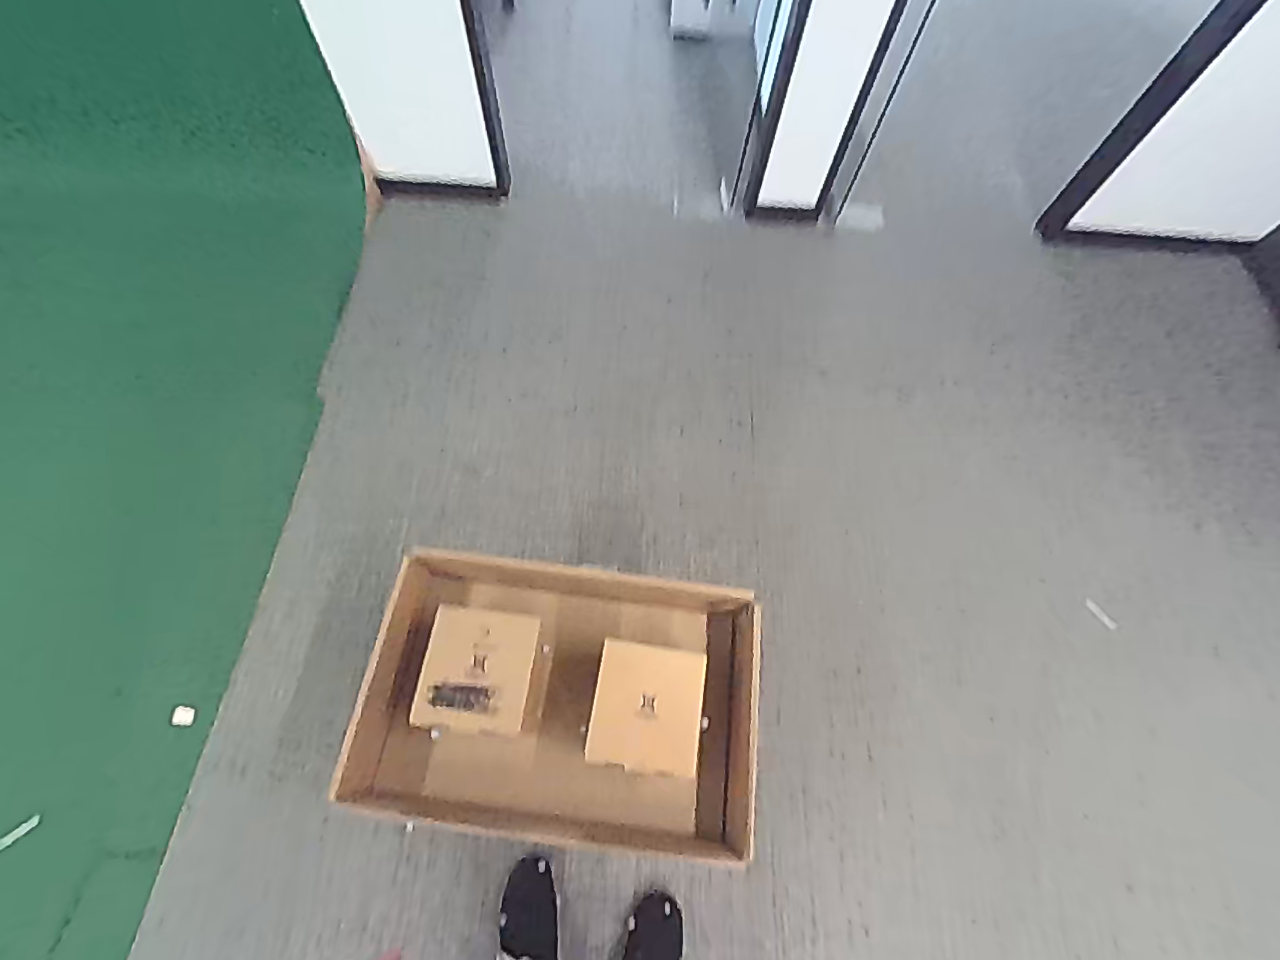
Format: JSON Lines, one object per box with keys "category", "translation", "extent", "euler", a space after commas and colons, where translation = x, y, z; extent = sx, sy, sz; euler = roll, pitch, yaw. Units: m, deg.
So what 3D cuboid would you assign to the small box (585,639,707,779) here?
{"category": "small box", "translation": [0.007, 0.372, 0.882], "extent": [0.168, 0.176, 0.179], "euler": [9, 66, 1]}
